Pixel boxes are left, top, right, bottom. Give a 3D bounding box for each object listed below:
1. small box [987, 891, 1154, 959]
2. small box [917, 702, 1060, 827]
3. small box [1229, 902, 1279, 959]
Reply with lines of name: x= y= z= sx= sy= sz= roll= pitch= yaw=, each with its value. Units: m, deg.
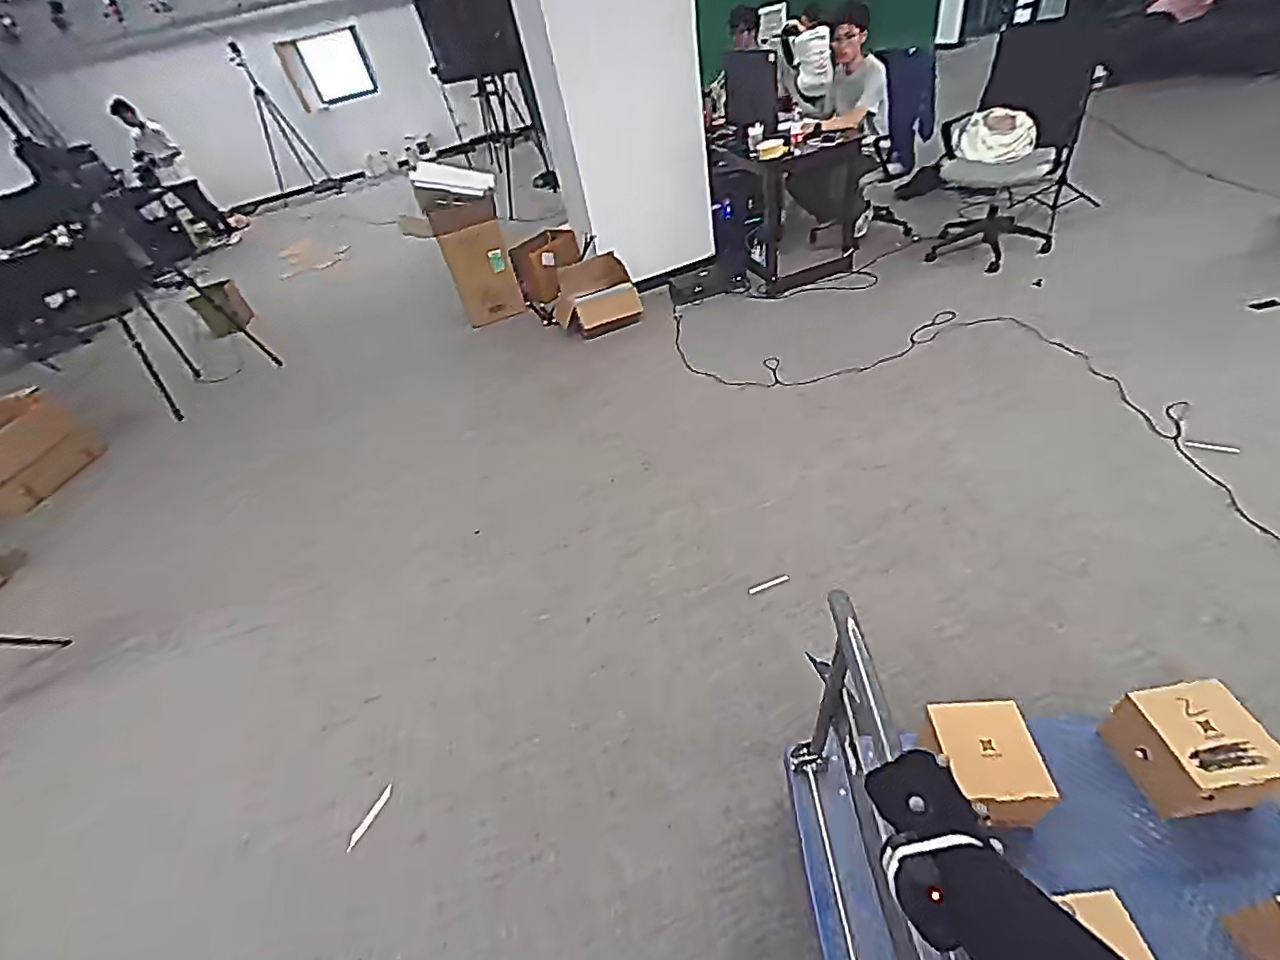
small box: x=0.676 y=0.768 z=0.835 sx=0.168 sy=0.176 sz=0.179 roll=-10 pitch=42 yaw=5
small box: x=0.669 y=0.562 z=1.067 sx=0.168 sy=0.176 sz=0.179 roll=-6 pitch=44 yaw=8
small box: x=1.044 y=0.721 z=0.782 sx=0.179 sy=0.176 sz=0.168 roll=-9 pitch=41 yaw=8
